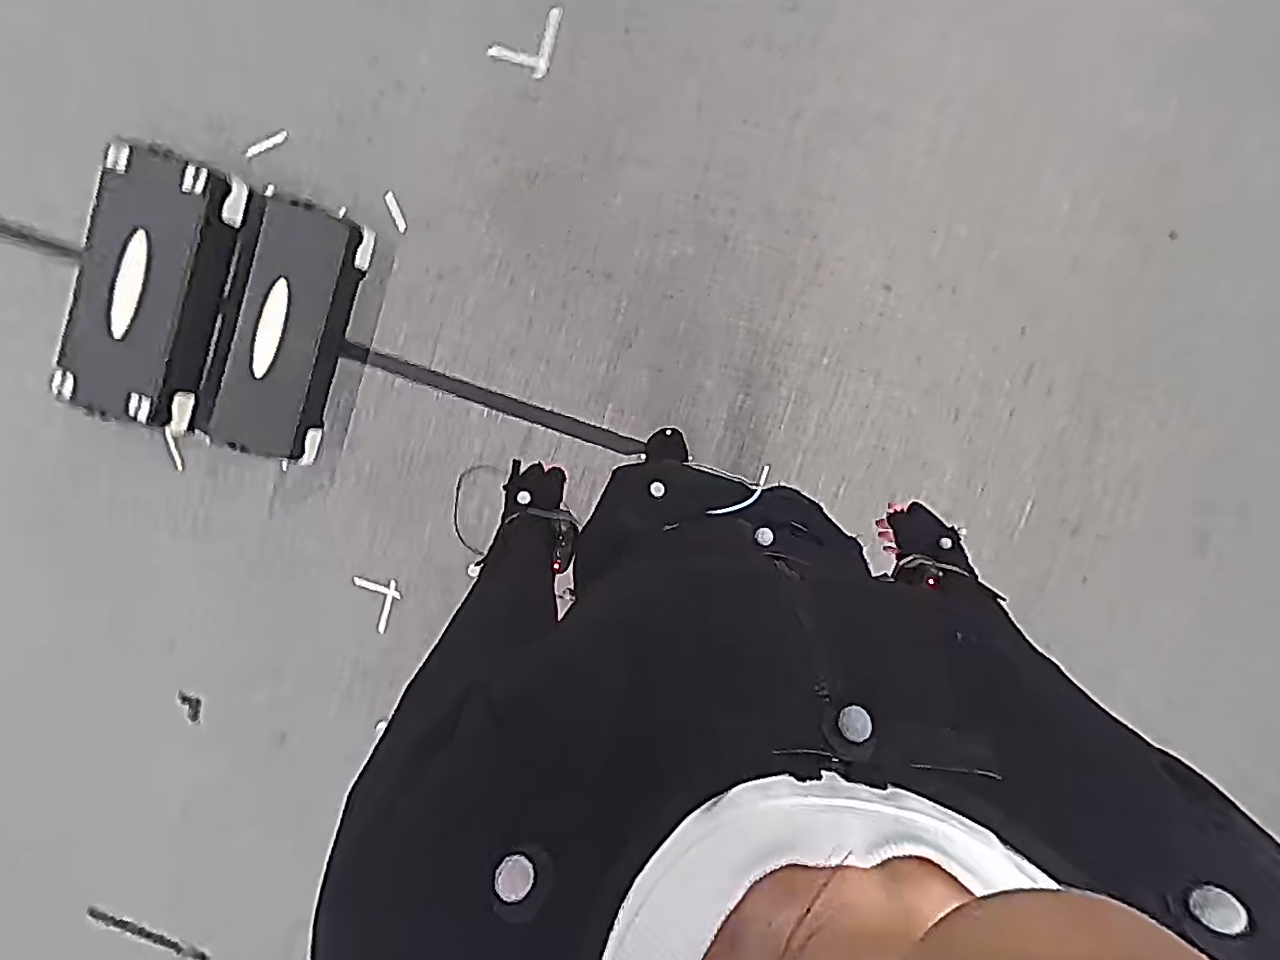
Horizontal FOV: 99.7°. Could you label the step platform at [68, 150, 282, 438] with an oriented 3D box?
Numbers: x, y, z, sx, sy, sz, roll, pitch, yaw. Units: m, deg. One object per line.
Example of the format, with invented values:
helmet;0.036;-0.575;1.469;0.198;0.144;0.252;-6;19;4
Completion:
step platform;-1.188;-0.457;1.391;0.286;0.204;0.684;18;94;1
